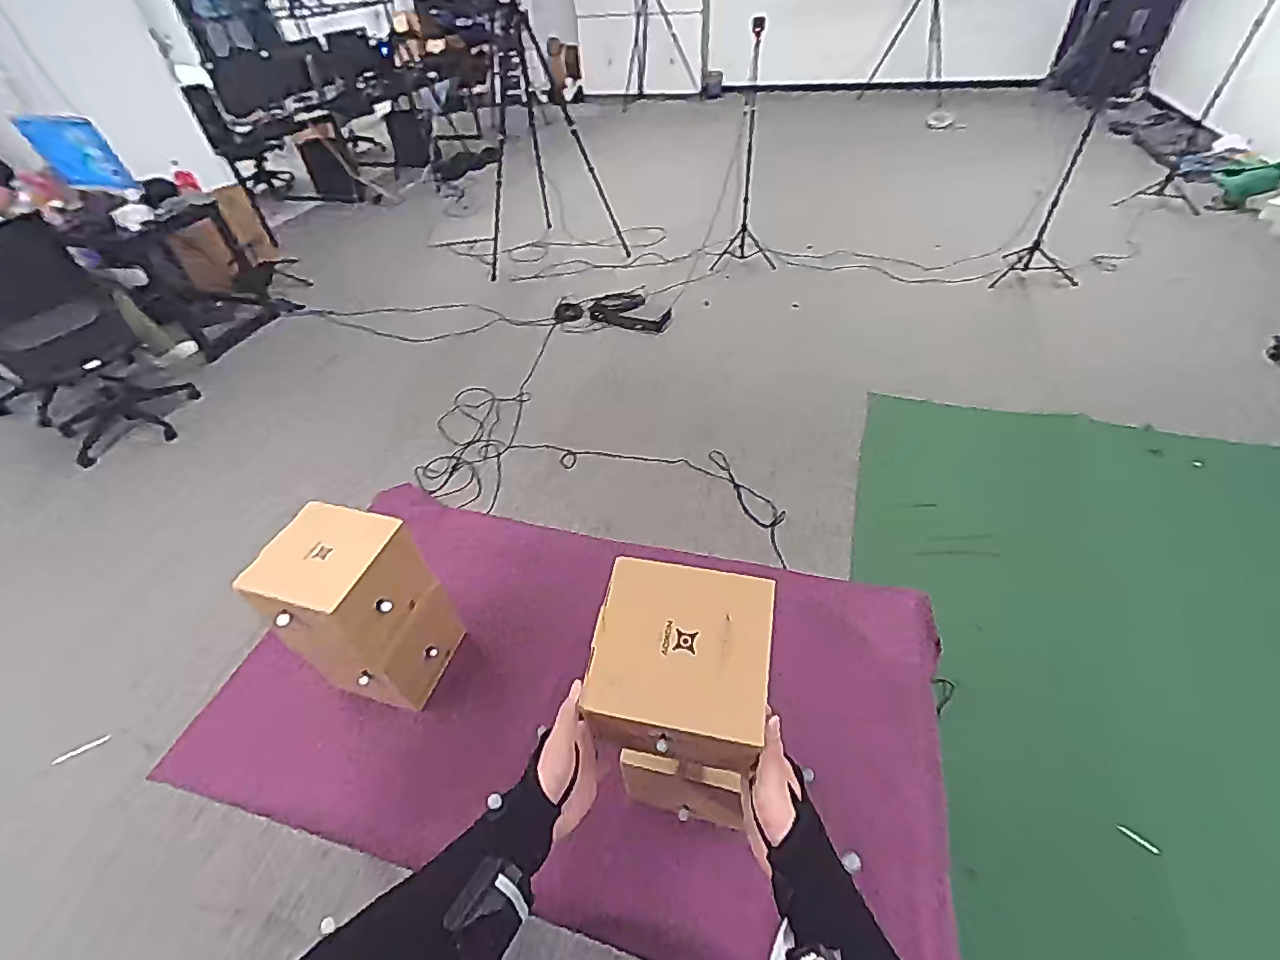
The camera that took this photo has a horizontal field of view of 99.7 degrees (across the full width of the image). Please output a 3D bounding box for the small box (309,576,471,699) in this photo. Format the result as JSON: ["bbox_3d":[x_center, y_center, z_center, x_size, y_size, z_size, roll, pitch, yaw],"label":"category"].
[{"bbox_3d":[-0.431,0.266,0.964,0.179,0.176,0.168,10,47,15],"label":"small box"}]

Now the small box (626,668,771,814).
[{"bbox_3d":[0.090,0.371,0.805,0.179,0.176,0.168,8,47,14],"label":"small box"}]

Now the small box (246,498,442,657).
[{"bbox_3d":[-0.444,0.156,0.846,0.179,0.176,0.168,9,48,15],"label":"small box"}]

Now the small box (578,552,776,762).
[{"bbox_3d":[0.048,0.202,0.606,0.179,0.176,0.168,8,56,10],"label":"small box"}]
